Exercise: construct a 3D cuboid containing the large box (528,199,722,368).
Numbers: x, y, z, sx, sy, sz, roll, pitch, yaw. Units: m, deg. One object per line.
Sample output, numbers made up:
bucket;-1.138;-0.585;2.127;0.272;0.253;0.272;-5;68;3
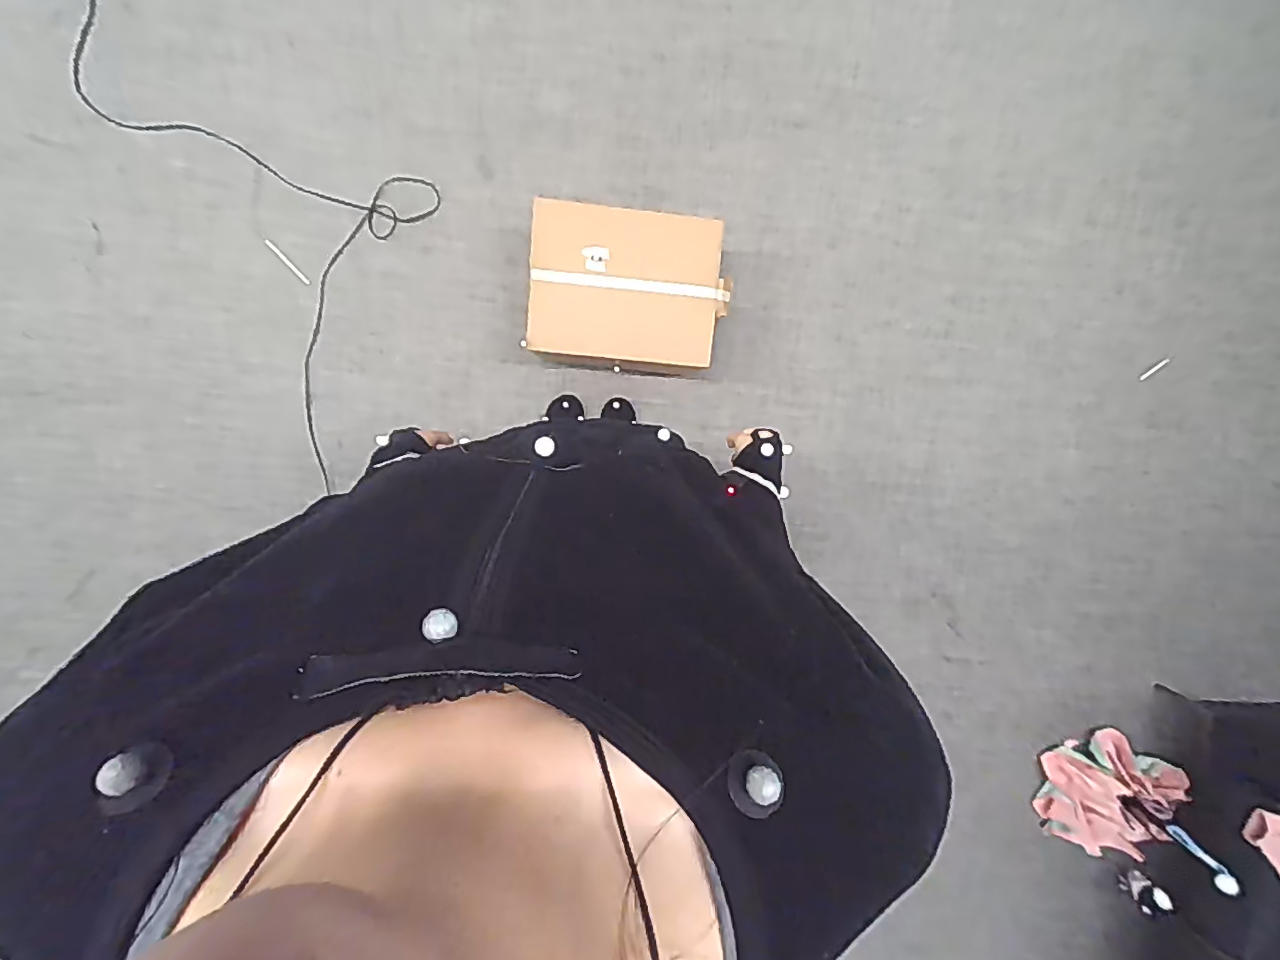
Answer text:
large box;-0.040;-0.446;1.309;0.408;0.320;0.320;5;97;-4
